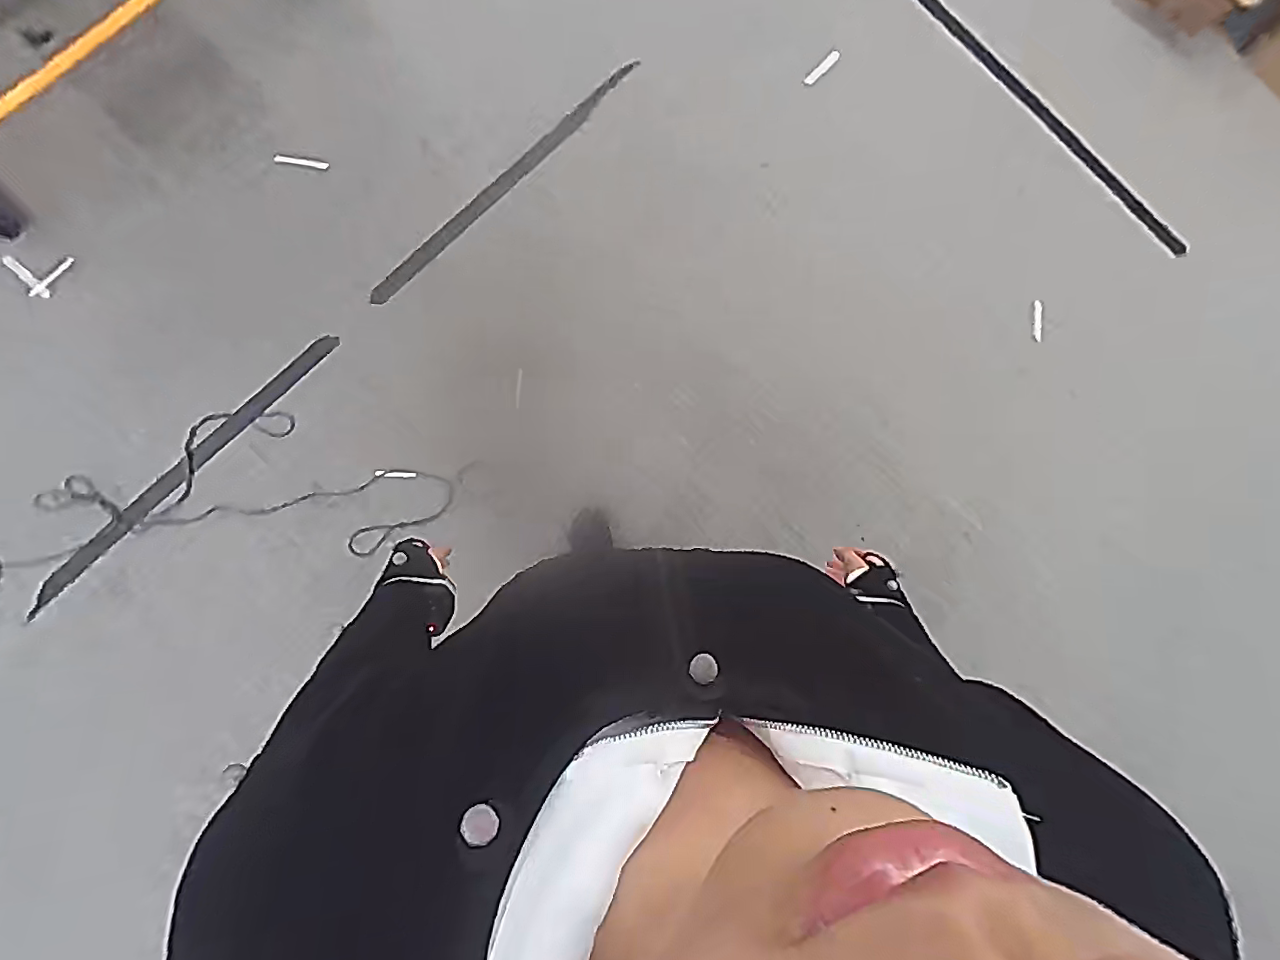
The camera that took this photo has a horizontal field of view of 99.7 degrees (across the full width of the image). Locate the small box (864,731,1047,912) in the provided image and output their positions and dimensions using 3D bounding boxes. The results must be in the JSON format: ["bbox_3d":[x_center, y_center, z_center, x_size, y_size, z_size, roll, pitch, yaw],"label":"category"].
[{"bbox_3d":[0.540,0.580,0.948,0.179,0.176,0.168,43,82,2],"label":"small box"}]
